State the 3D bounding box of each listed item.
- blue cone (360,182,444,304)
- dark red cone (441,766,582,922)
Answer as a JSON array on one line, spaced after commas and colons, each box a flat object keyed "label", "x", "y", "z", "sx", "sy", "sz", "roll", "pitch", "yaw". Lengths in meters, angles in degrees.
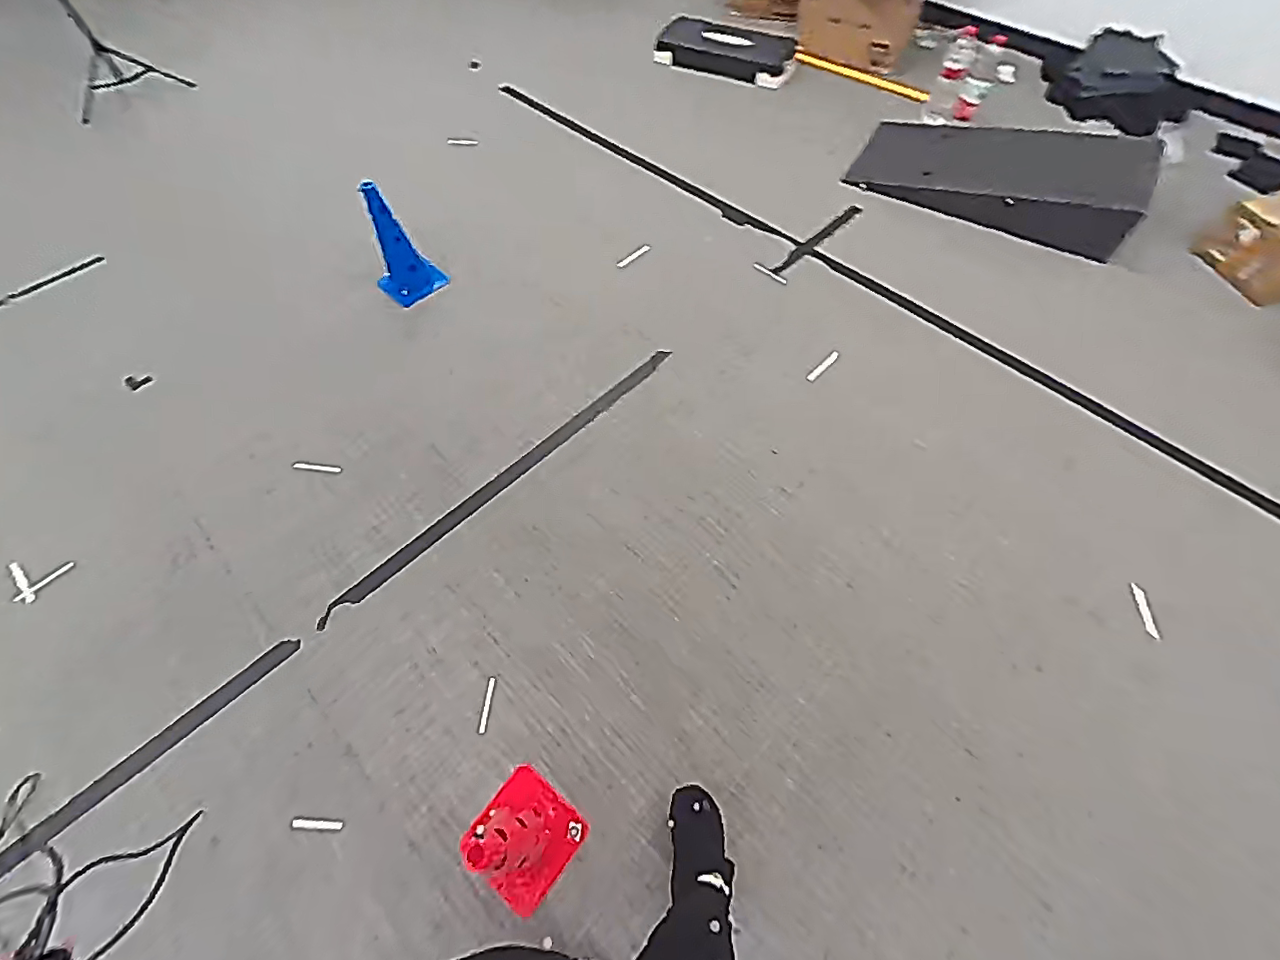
[{"label": "blue cone", "x": -0.820, "y": -0.793, "z": 1.794, "sx": 0.193, "sy": 0.380, "sz": 0.192, "roll": -40, "pitch": 65, "yaw": -19}, {"label": "dark red cone", "x": -0.248, "y": 0.626, "z": 0.923, "sx": 0.201, "sy": 0.394, "sz": 0.202, "roll": 33, "pitch": 66, "yaw": 20}]
